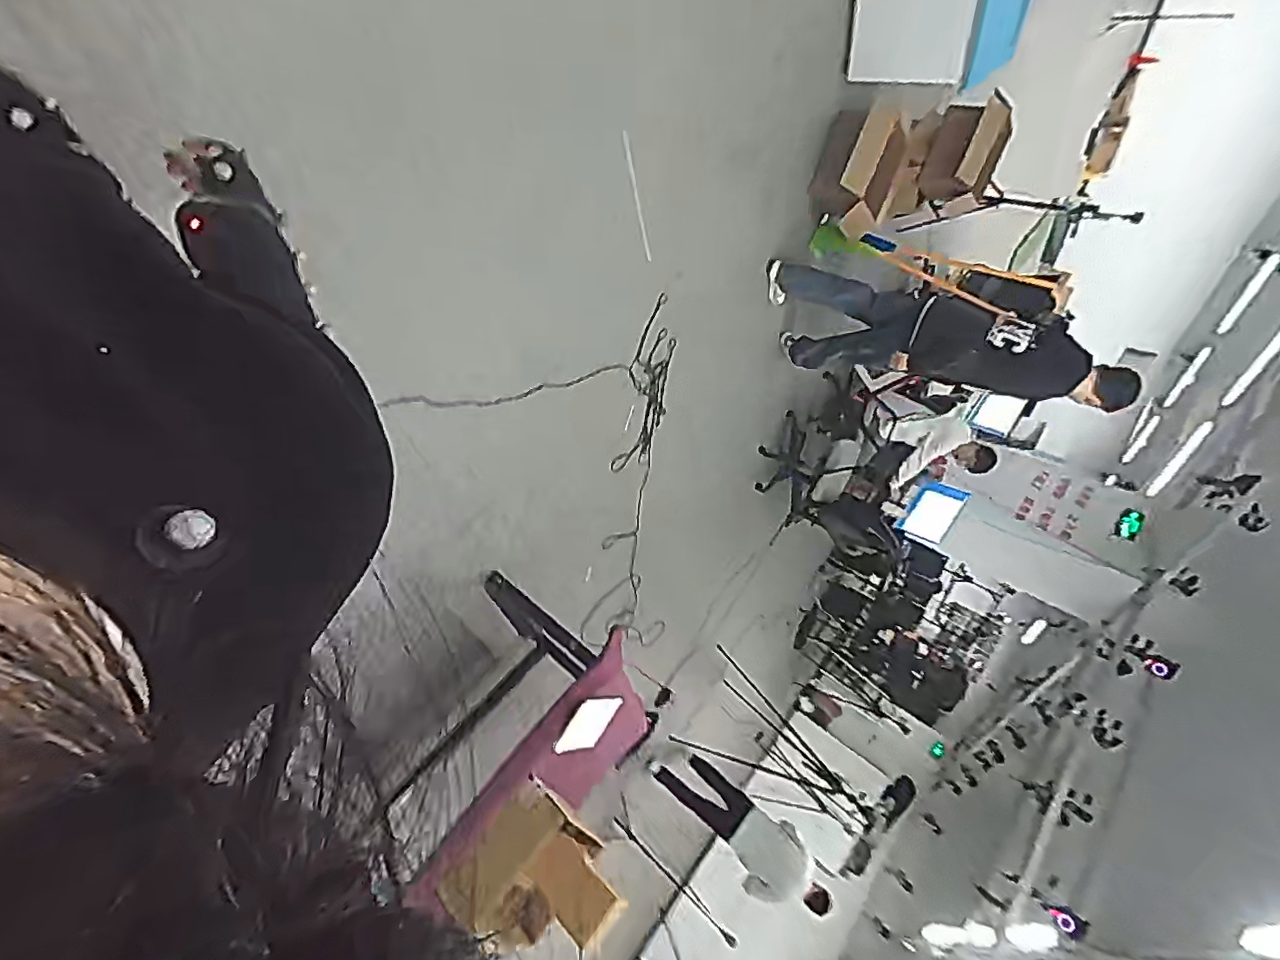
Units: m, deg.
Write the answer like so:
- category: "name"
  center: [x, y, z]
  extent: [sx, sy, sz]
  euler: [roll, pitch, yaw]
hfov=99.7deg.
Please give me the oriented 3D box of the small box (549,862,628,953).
- category: "small box"
  center: [-0.170, 1.418, 1.801]
  extent: [0.179, 0.176, 0.168]
  euler: [-45, 143, -23]

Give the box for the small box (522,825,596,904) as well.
- category: "small box"
  center: [-0.284, 1.351, 1.894]
  extent: [0.168, 0.176, 0.179]
  euler: [-43, 142, -25]
